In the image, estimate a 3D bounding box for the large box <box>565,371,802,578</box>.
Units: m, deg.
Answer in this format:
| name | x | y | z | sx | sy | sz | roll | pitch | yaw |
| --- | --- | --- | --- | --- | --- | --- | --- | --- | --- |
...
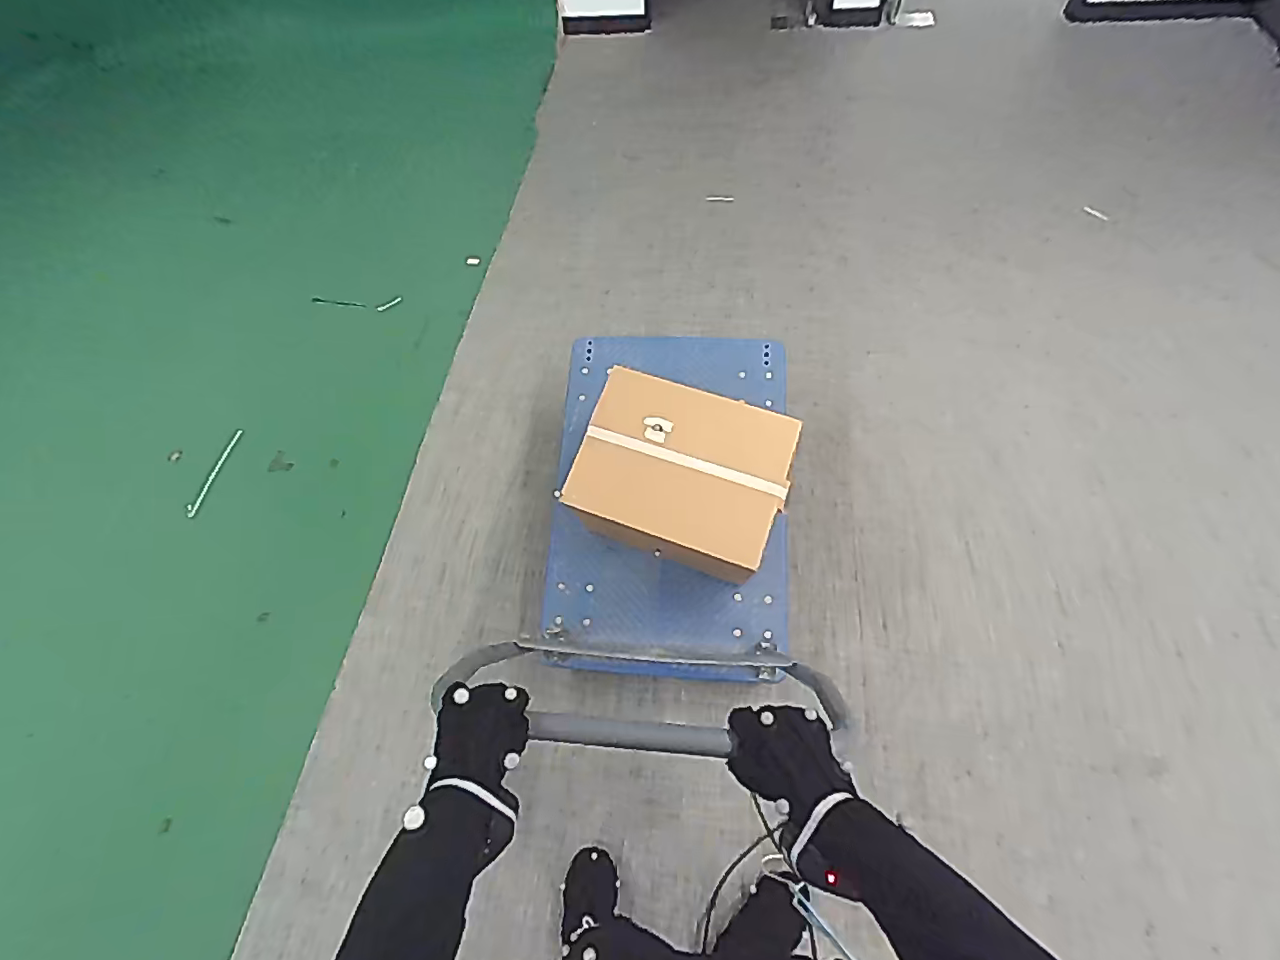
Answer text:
| name | x | y | z | sx | sy | sz | roll | pitch | yaw |
| --- | --- | --- | --- | --- | --- | --- | --- | --- | --- |
| large box | 0.104 | 0.004 | 1.198 | 0.408 | 0.320 | 0.320 | 17 | 77 | 11 |
